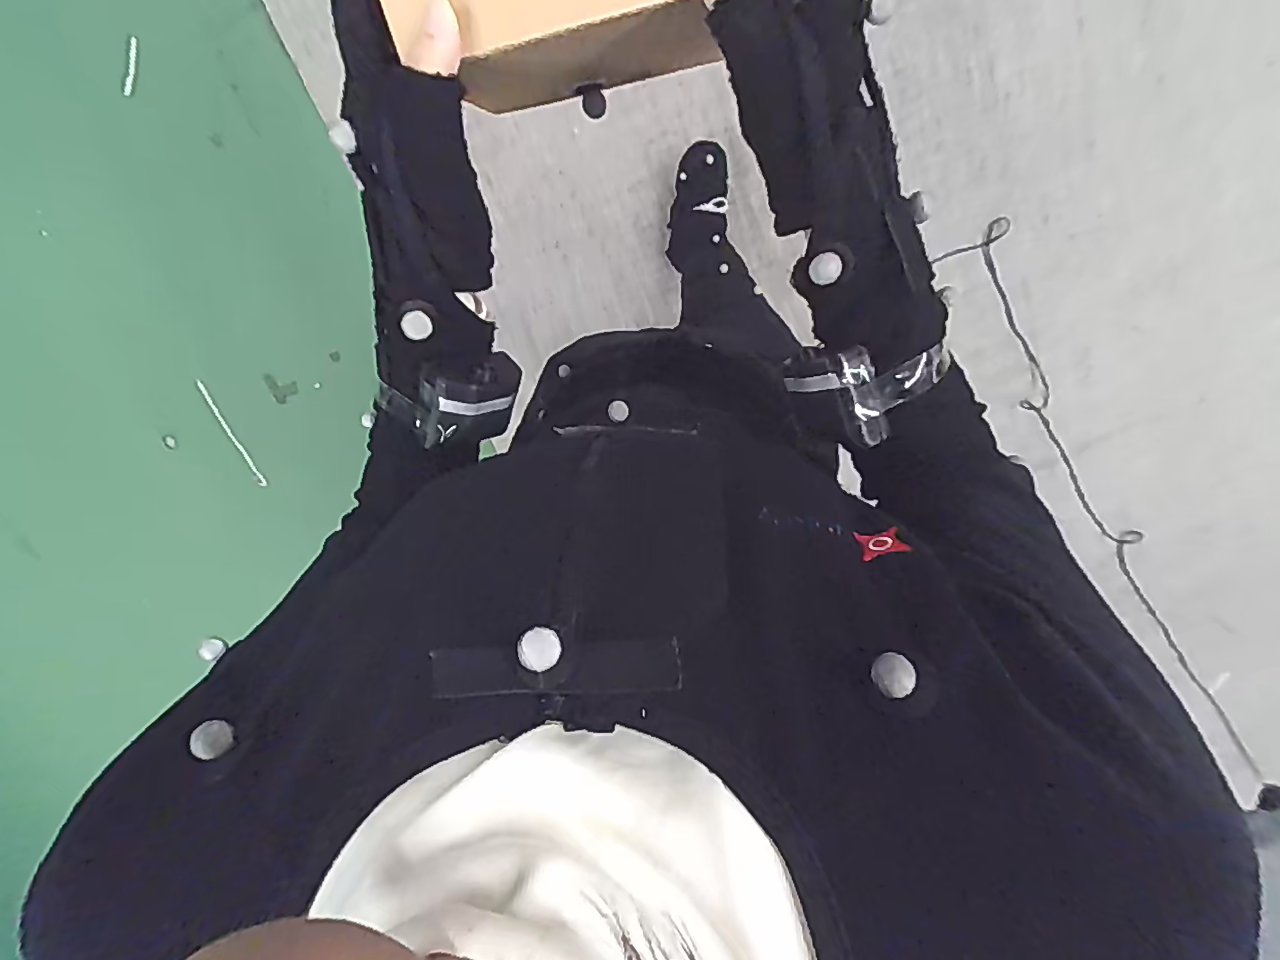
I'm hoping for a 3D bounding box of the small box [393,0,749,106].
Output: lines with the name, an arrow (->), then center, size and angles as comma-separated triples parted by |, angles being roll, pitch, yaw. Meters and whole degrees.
small box -> -0.039, -0.318, 0.272 | 0.168, 0.176, 0.179 | -9, 117, 7
